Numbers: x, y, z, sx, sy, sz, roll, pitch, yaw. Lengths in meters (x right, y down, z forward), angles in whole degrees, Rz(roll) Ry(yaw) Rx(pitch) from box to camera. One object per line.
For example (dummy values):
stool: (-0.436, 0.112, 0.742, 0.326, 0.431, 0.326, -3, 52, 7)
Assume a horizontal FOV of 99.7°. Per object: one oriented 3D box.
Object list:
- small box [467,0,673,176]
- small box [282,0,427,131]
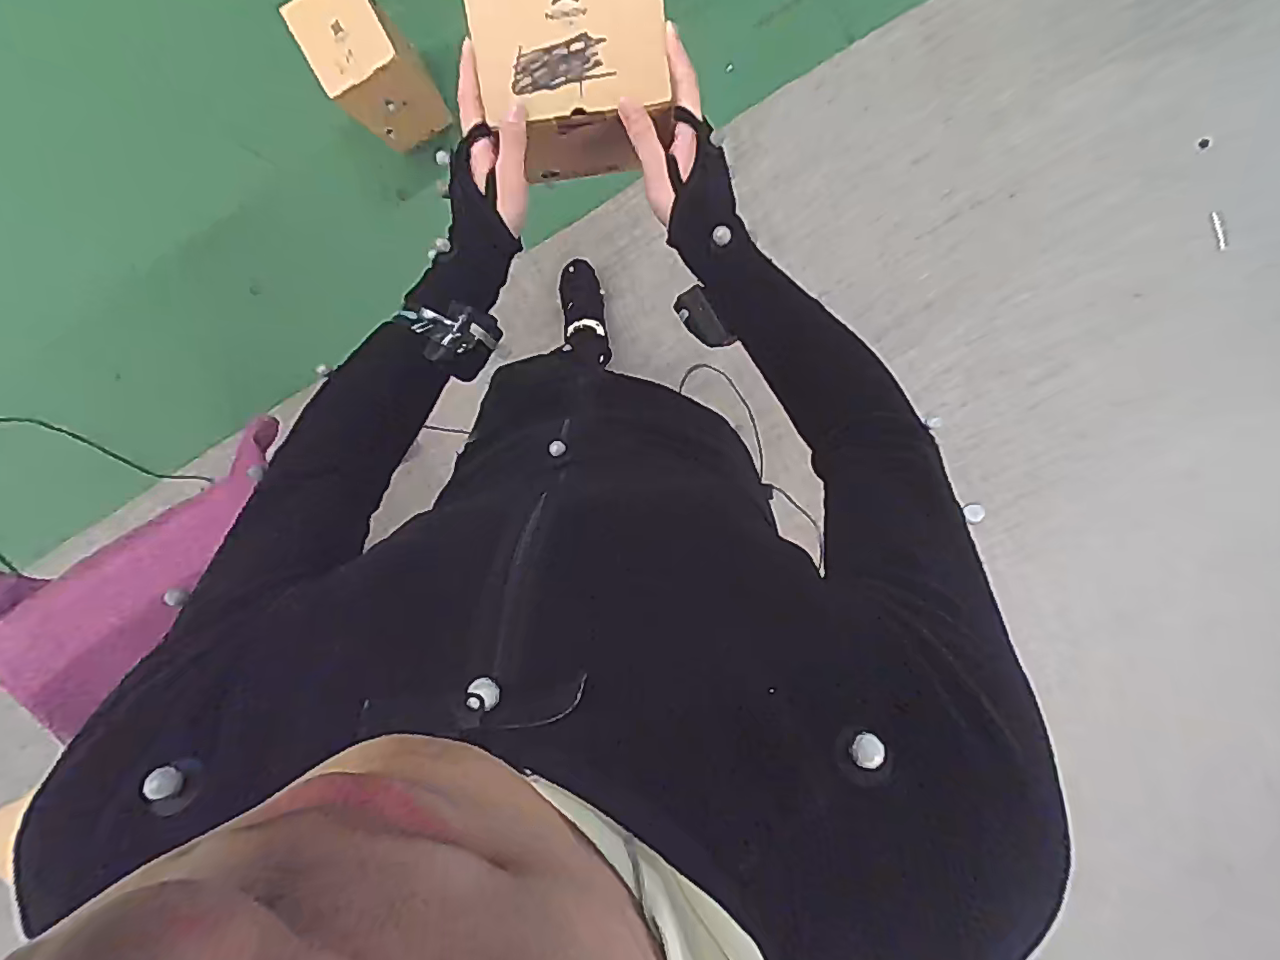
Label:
small box: (-0.059, -0.413, 0.520, 0.168, 0.176, 0.179, -7, 103, 2)
small box: (-0.586, -0.883, 1.134, 0.168, 0.176, 0.179, -26, 103, 7)
